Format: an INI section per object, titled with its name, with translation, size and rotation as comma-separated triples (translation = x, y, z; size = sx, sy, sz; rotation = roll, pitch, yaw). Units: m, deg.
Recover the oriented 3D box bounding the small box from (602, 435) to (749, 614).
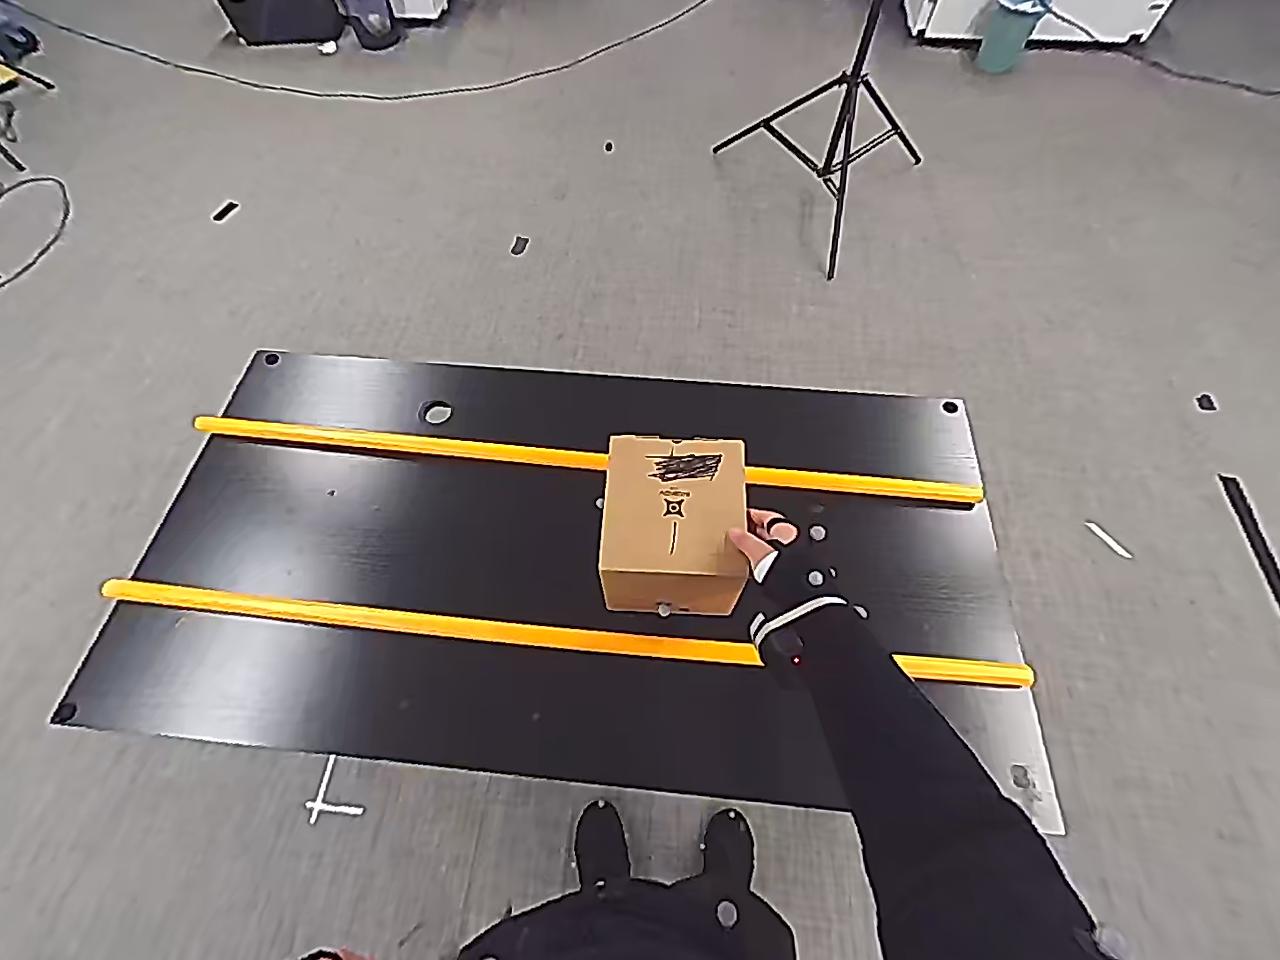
[small box]
translation = 0.044, 0.062, 0.702
size = 0.168, 0.176, 0.179
rotation = 2, 62, 2
